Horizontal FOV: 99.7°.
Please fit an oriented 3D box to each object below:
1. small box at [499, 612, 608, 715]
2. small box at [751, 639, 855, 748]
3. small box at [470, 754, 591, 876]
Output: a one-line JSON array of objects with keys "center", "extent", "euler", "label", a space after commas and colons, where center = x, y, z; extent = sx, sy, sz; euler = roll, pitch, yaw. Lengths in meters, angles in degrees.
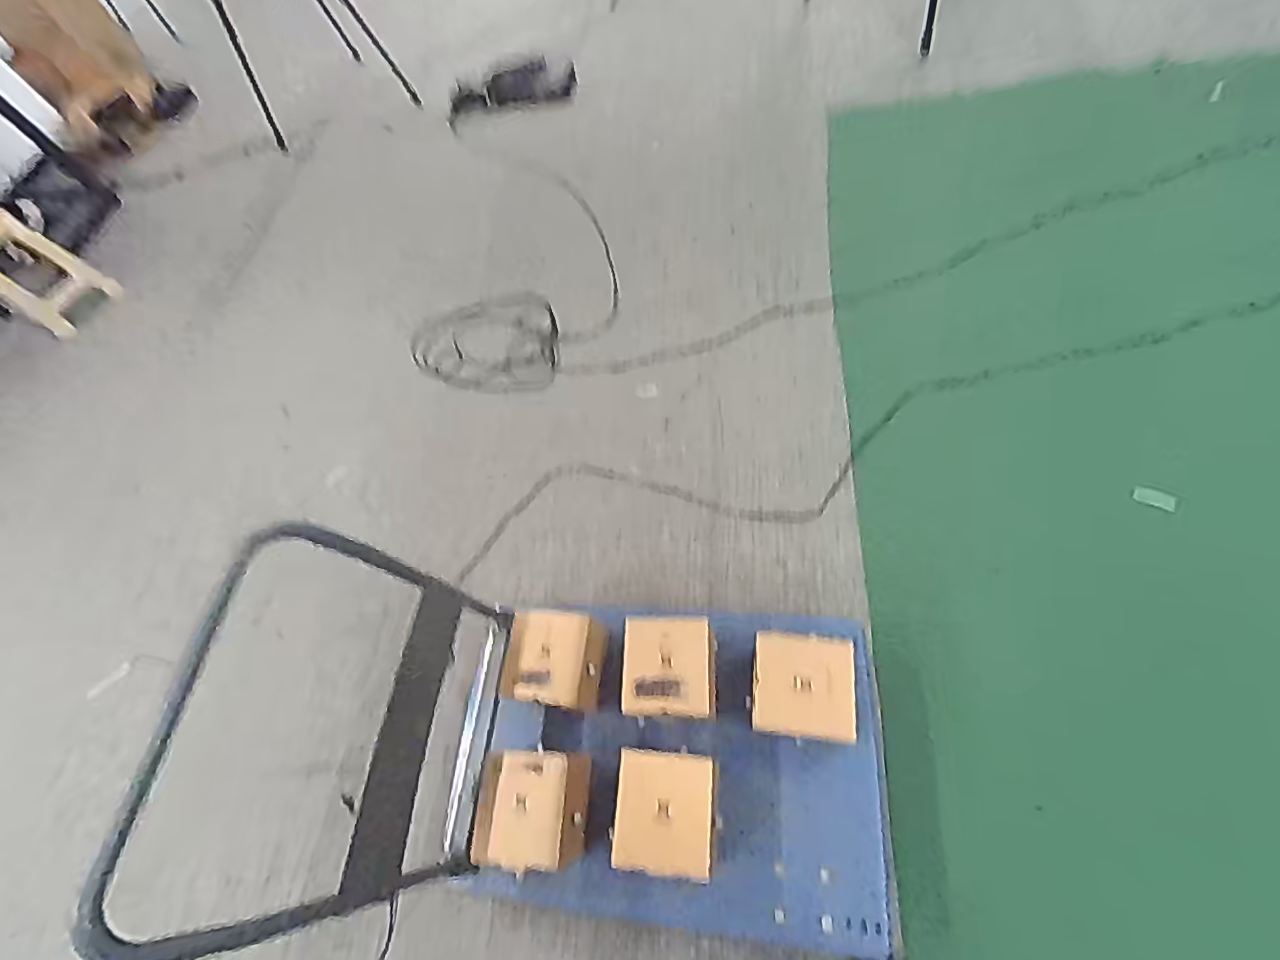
[{"center": [-0.174, 0.395, 1.153], "extent": [0.168, 0.176, 0.179], "euler": [2, 63, 13], "label": "small box"}, {"center": [0.310, 0.413, 1.038], "extent": [0.179, 0.176, 0.168], "euler": [2, 64, 14], "label": "small box"}, {"center": [-0.198, 0.629, 1.035], "extent": [0.168, 0.176, 0.179], "euler": [-2, 63, 11], "label": "small box"}]
